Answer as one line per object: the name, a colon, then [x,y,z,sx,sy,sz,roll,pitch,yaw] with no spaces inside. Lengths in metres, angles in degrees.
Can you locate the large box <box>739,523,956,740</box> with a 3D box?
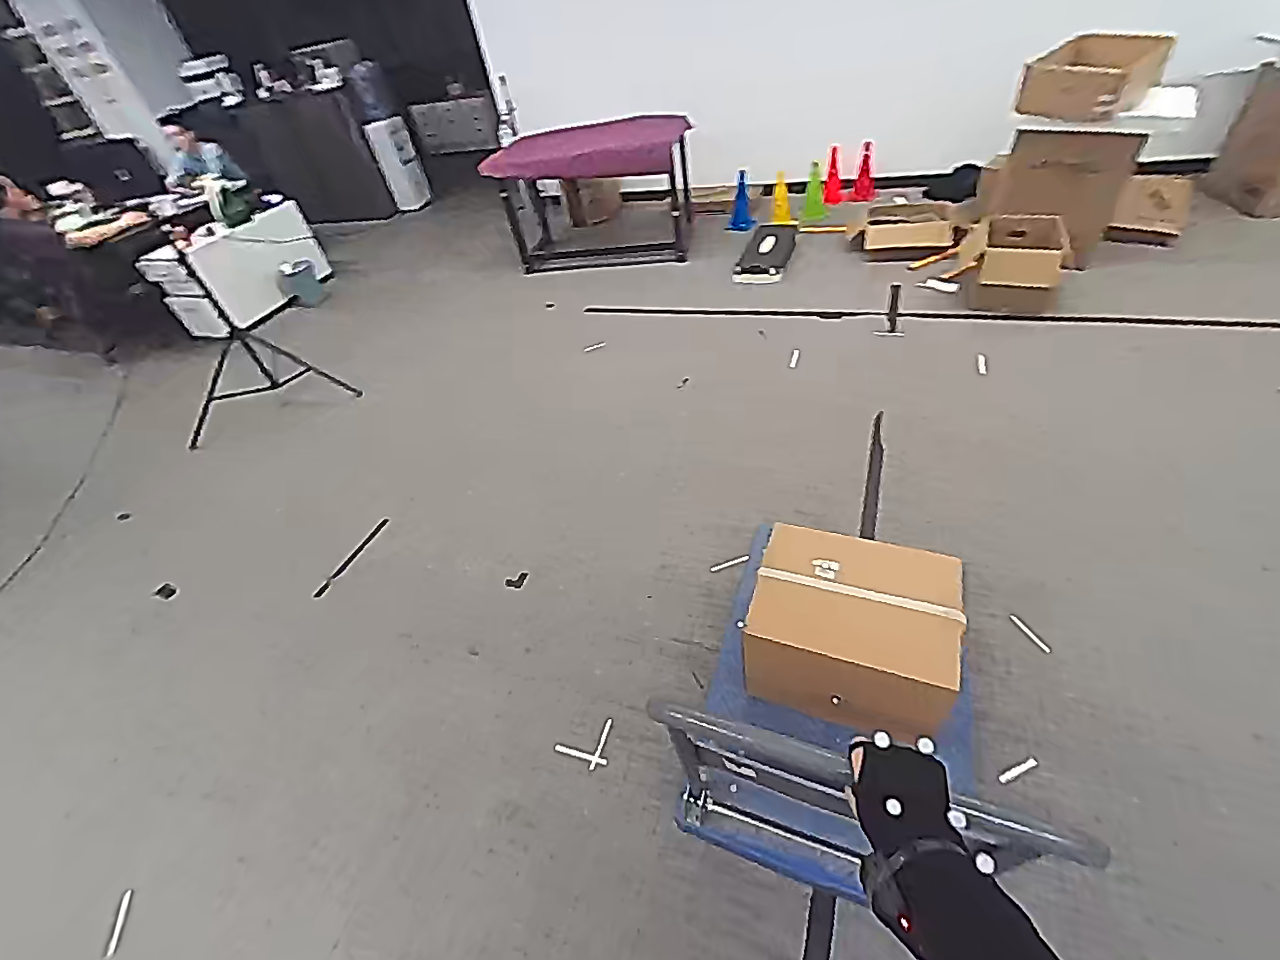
large box: [0.468,0.339,1.240,0.408,0.320,0.320,9,47,23]
